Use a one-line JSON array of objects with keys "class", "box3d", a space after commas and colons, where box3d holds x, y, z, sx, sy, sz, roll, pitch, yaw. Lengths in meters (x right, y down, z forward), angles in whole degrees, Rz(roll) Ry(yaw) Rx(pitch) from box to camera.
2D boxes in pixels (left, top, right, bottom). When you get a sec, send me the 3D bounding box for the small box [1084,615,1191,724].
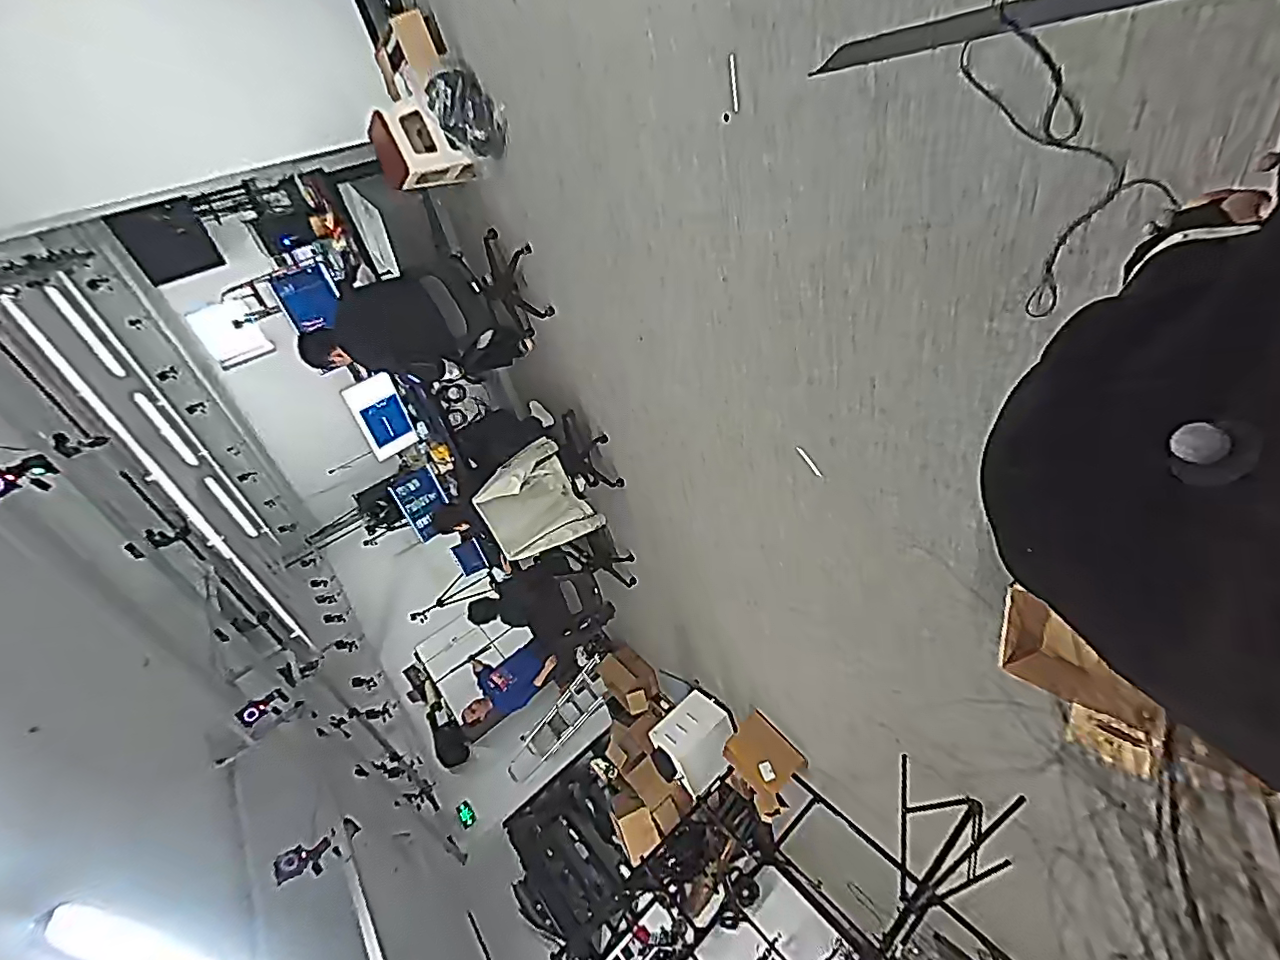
[{"class": "small box", "box3d": [1.335, 0.503, 1.453, 0.168, 0.176, 0.179, 22, 139, 49]}]
